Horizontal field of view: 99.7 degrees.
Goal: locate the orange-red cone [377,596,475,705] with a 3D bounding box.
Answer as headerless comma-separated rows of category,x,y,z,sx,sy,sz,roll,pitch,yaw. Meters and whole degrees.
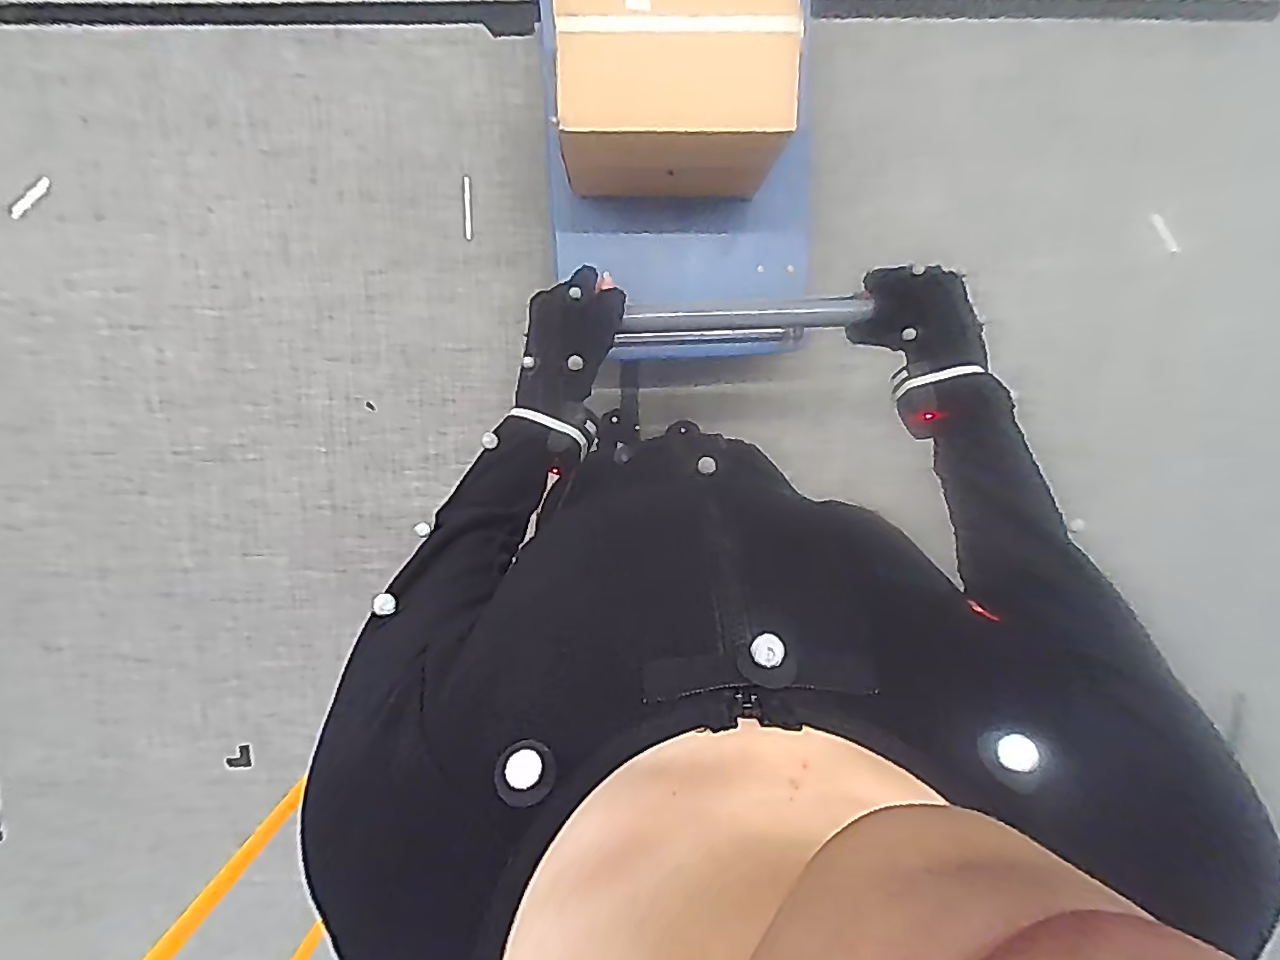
orange-red cone,-0.565,0.451,1.355,0.198,0.360,0.199,7,97,-3

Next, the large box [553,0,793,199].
large box,0.056,-0.759,1.043,0.408,0.320,0.320,-1,98,-1

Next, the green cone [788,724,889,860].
green cone,0.546,0.840,1.425,0.202,0.368,0.200,3,98,-3
